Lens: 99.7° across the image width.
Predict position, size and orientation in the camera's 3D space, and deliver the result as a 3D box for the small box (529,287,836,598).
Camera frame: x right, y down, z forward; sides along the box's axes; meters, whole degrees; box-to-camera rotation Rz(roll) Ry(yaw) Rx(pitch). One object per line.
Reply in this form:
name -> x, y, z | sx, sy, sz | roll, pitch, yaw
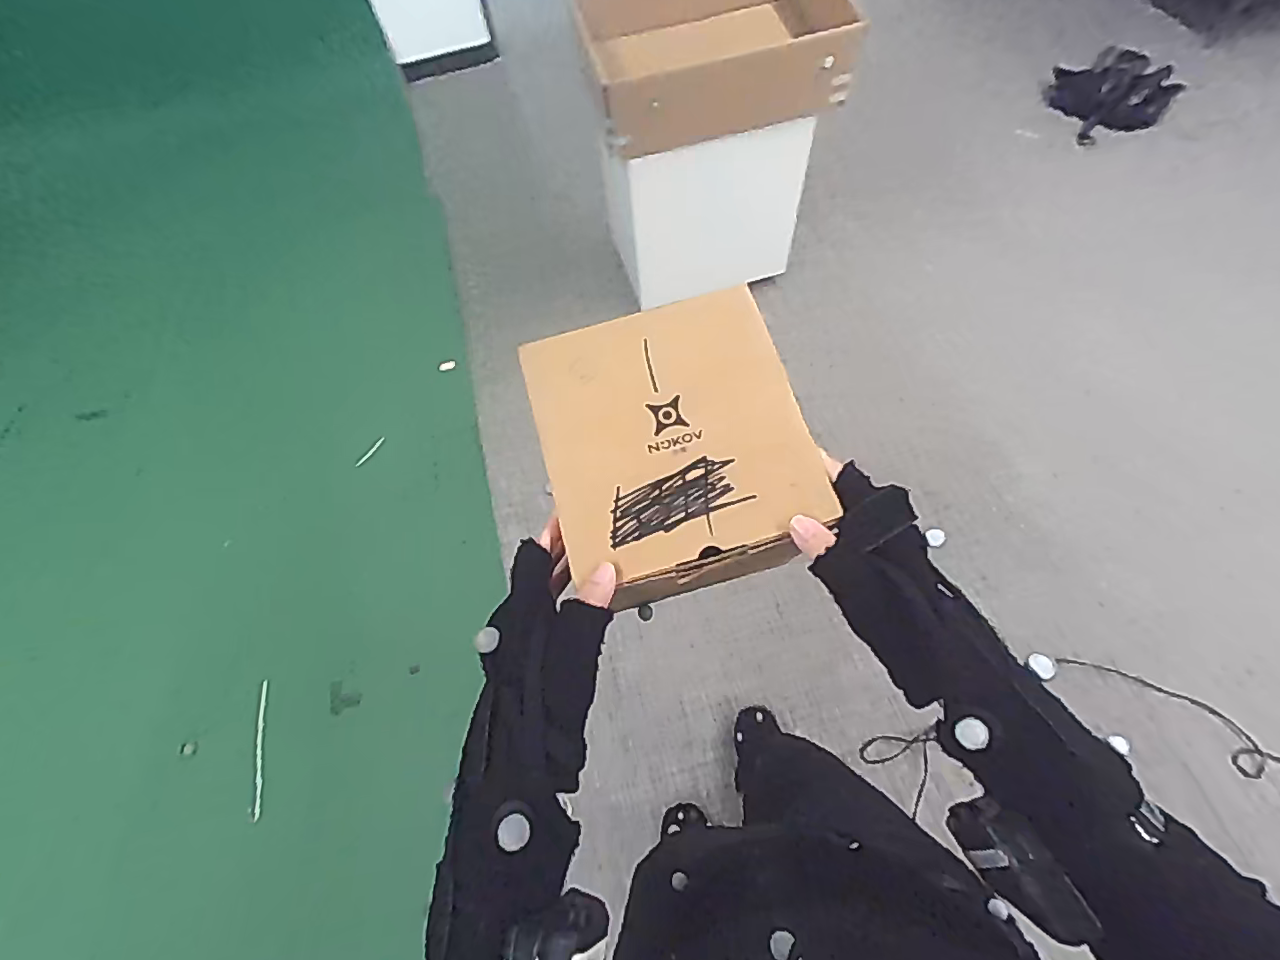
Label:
small box -> 0.028, -0.011, 0.425 | 0.168, 0.176, 0.179 | -15, 71, -1
